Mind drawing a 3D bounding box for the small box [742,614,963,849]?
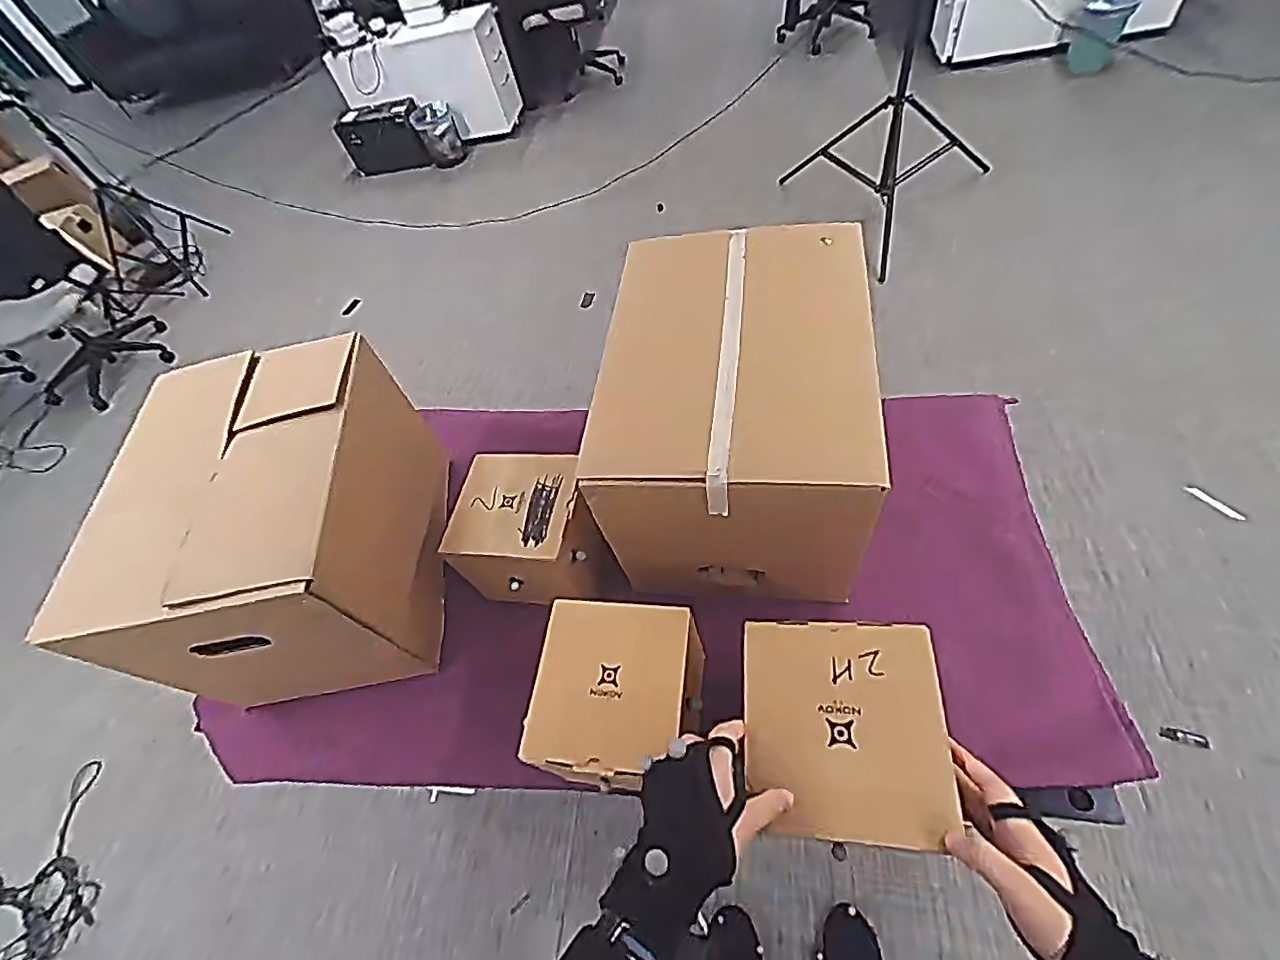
[{"bbox_3d":[0.191,0.244,0.528,0.168,0.176,0.179,-2,57,14],"label":"small box"}]
